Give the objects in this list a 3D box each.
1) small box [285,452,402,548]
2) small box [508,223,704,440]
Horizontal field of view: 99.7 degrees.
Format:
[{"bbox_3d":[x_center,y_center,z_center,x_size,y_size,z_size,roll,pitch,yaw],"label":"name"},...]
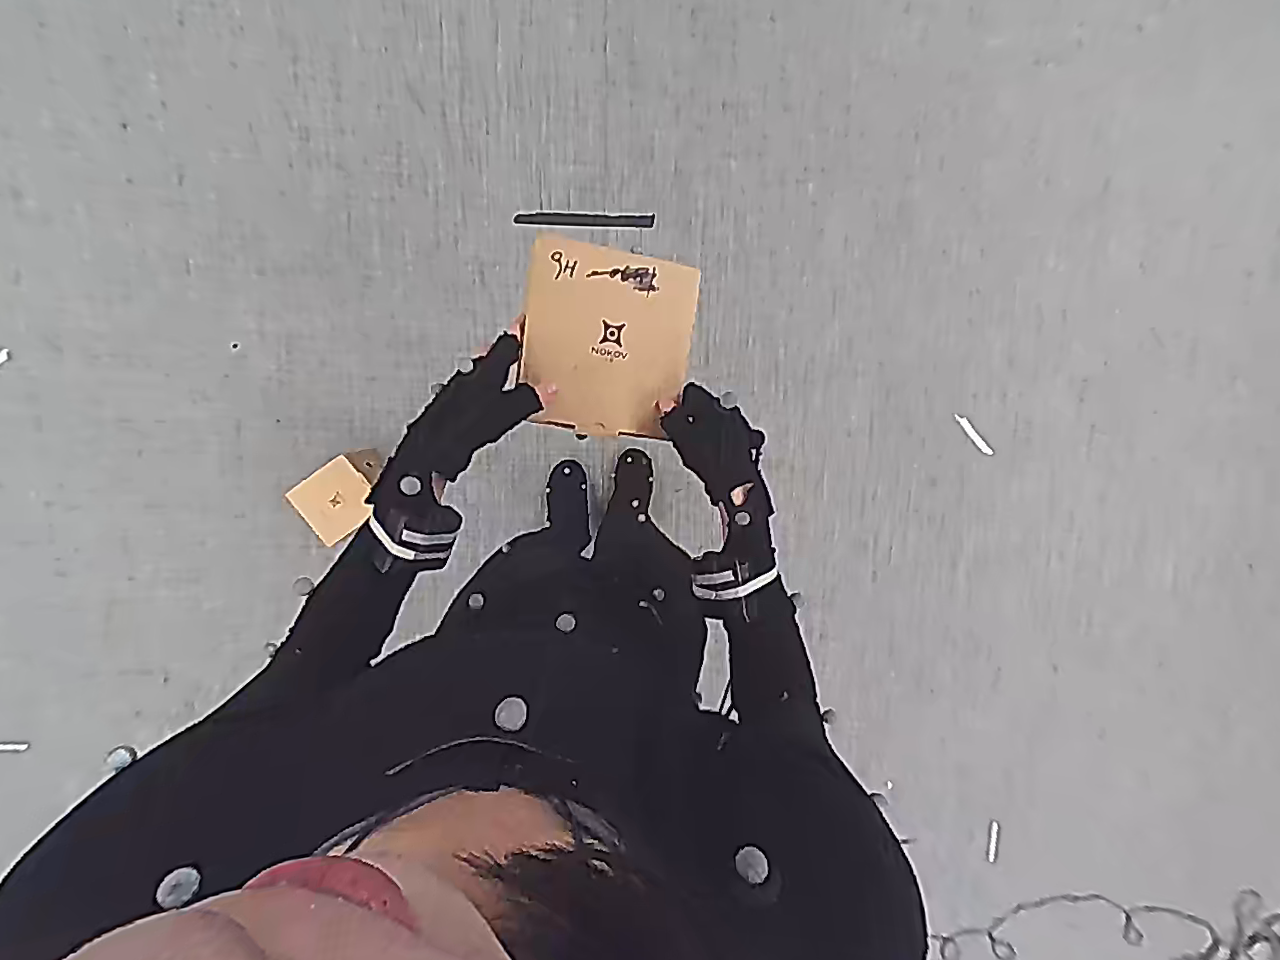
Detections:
[{"bbox_3d":[-0.733,0.041,1.366,0.179,0.176,0.168,-35,97,1],"label":"small box"},{"bbox_3d":[-0.048,-0.149,0.587,0.168,0.176,0.179,7,99,-16],"label":"small box"}]
